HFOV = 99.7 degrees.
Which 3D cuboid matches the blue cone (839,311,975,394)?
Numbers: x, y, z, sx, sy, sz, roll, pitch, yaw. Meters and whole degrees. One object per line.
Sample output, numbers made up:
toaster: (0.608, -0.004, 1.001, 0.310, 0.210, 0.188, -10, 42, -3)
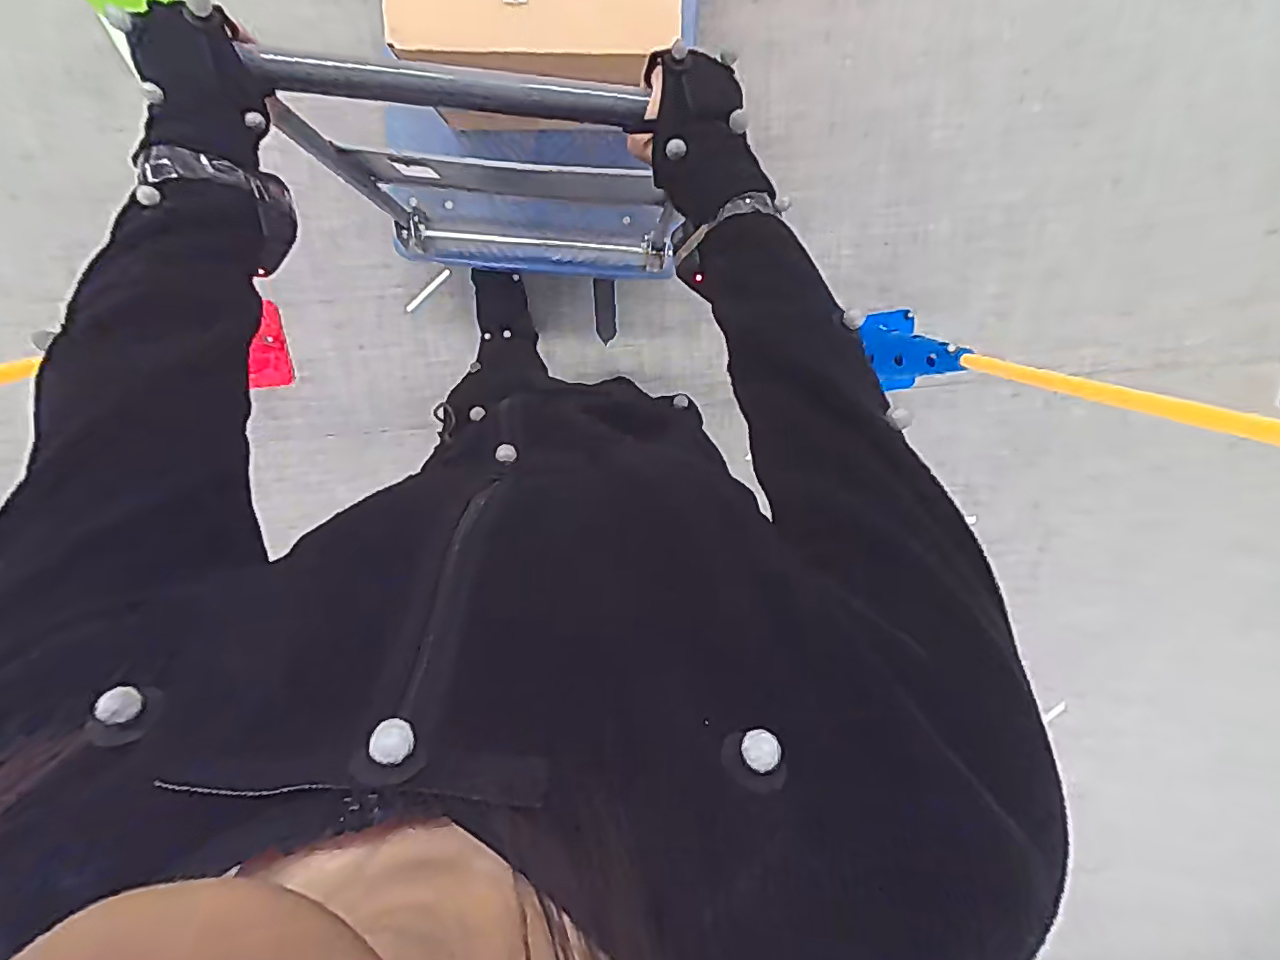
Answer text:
blue cone: (0.614, -0.280, 1.212, 0.193, 0.380, 0.192, -8, 104, -2)
